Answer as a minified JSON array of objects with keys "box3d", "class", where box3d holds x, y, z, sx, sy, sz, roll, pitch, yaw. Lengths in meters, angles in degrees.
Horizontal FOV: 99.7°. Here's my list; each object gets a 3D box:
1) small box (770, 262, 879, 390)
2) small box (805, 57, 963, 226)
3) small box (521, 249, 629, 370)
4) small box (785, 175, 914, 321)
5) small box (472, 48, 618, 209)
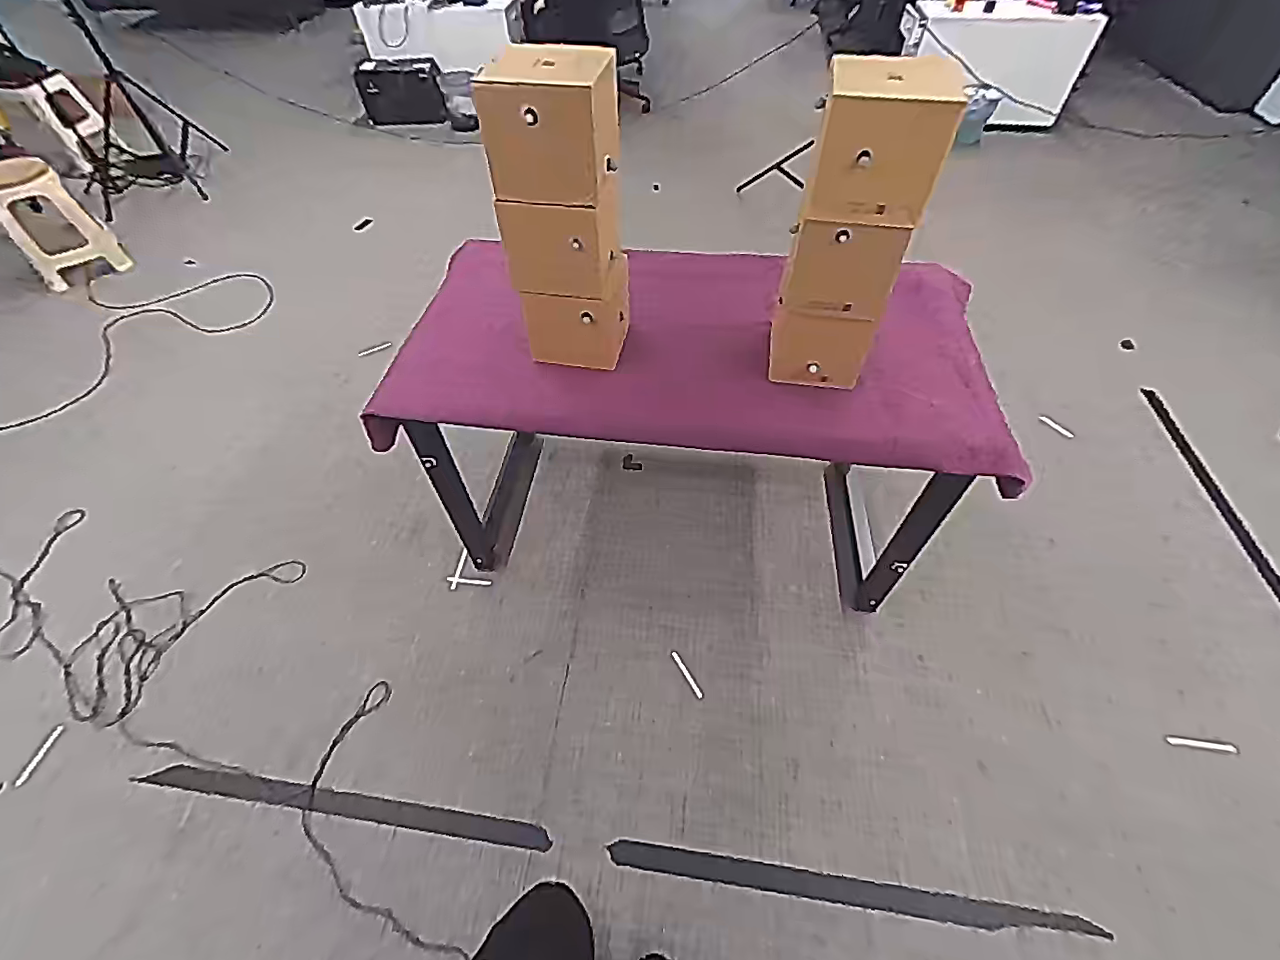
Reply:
[{"box3d":[0.353,-0.304,1.062,0.168,0.176,0.179,7,53,7],"class":"small box"},{"box3d":[0.346,-0.496,0.798,0.168,0.176,0.179,8,52,9],"class":"small box"},{"box3d":[-0.121,-0.345,1.105,0.179,0.176,0.168,8,52,7],"class":"small box"},{"box3d":[0.349,-0.401,0.930,0.168,0.176,0.179,9,52,9],"class":"small box"},{"box3d":[-0.135,-0.548,0.849,0.179,0.176,0.168,8,54,6],"class":"small box"}]
